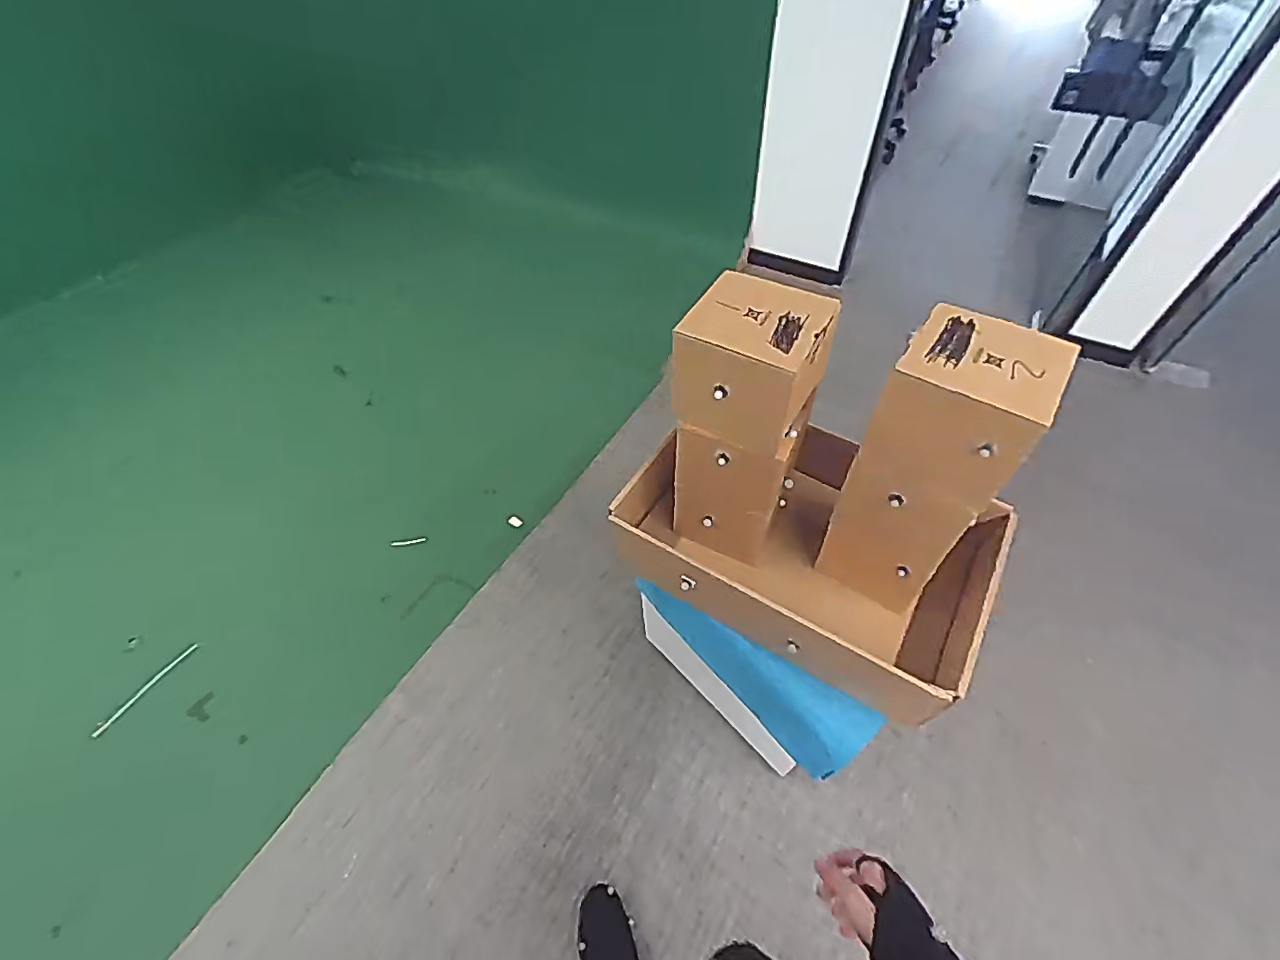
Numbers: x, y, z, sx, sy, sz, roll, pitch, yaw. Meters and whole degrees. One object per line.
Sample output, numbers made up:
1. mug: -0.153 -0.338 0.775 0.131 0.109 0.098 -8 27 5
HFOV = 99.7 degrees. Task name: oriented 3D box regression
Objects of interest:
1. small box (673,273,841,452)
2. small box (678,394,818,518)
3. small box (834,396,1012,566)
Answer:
1. small box: 0.163 -0.165 0.787 0.179 0.176 0.168 25 58 21
2. small box: 0.173 -0.062 0.914 0.179 0.176 0.168 23 57 17
3. small box: 0.431 0.005 0.849 0.179 0.176 0.168 30 60 23
